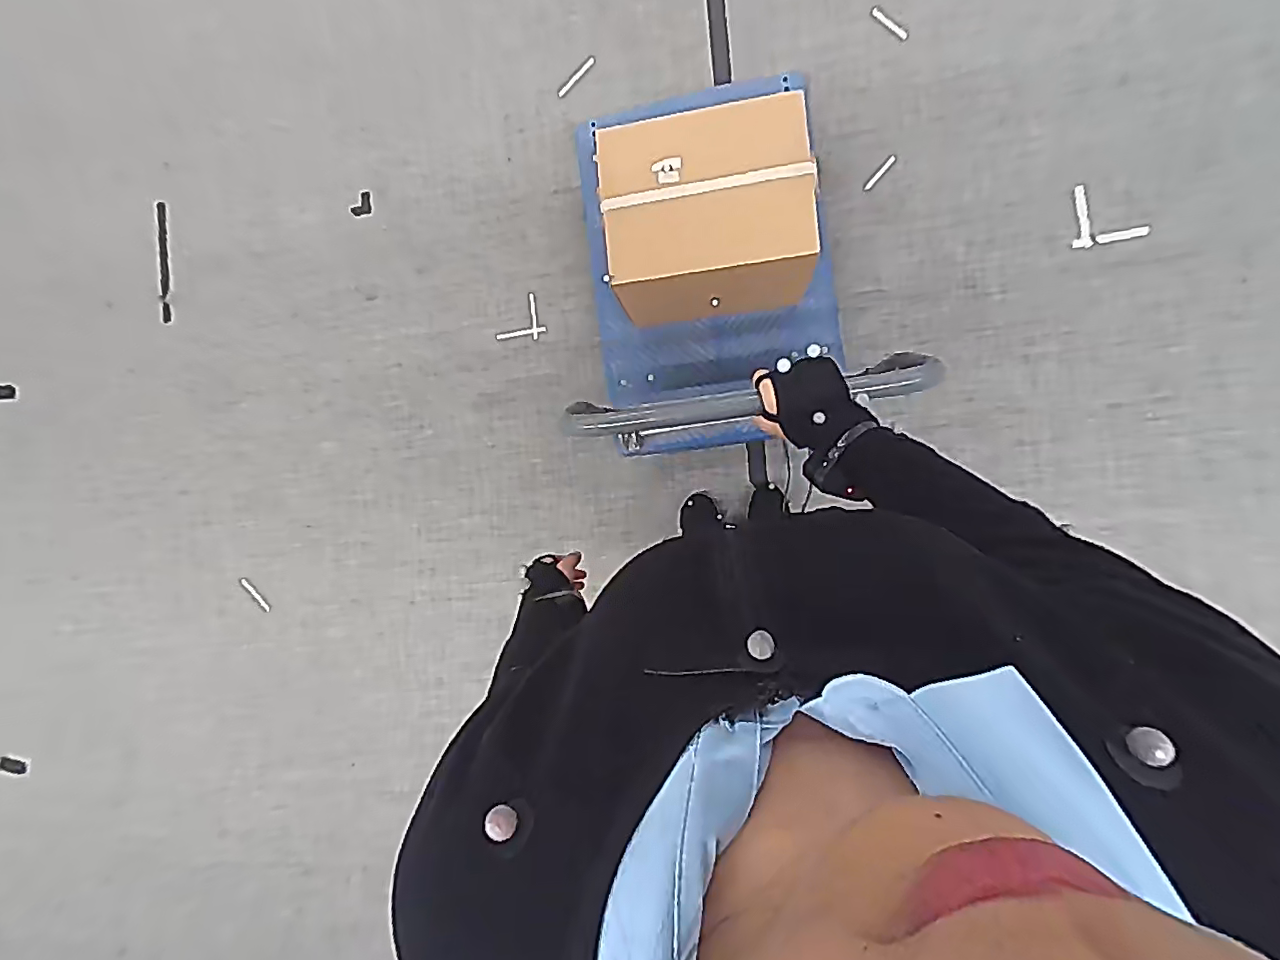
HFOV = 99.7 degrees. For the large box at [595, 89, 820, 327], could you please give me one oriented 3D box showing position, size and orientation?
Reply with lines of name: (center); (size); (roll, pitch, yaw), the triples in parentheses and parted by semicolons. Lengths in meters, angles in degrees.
large box: (0.147, -0.552, 1.175); (0.408, 0.320, 0.320); (-6, 88, 10)
